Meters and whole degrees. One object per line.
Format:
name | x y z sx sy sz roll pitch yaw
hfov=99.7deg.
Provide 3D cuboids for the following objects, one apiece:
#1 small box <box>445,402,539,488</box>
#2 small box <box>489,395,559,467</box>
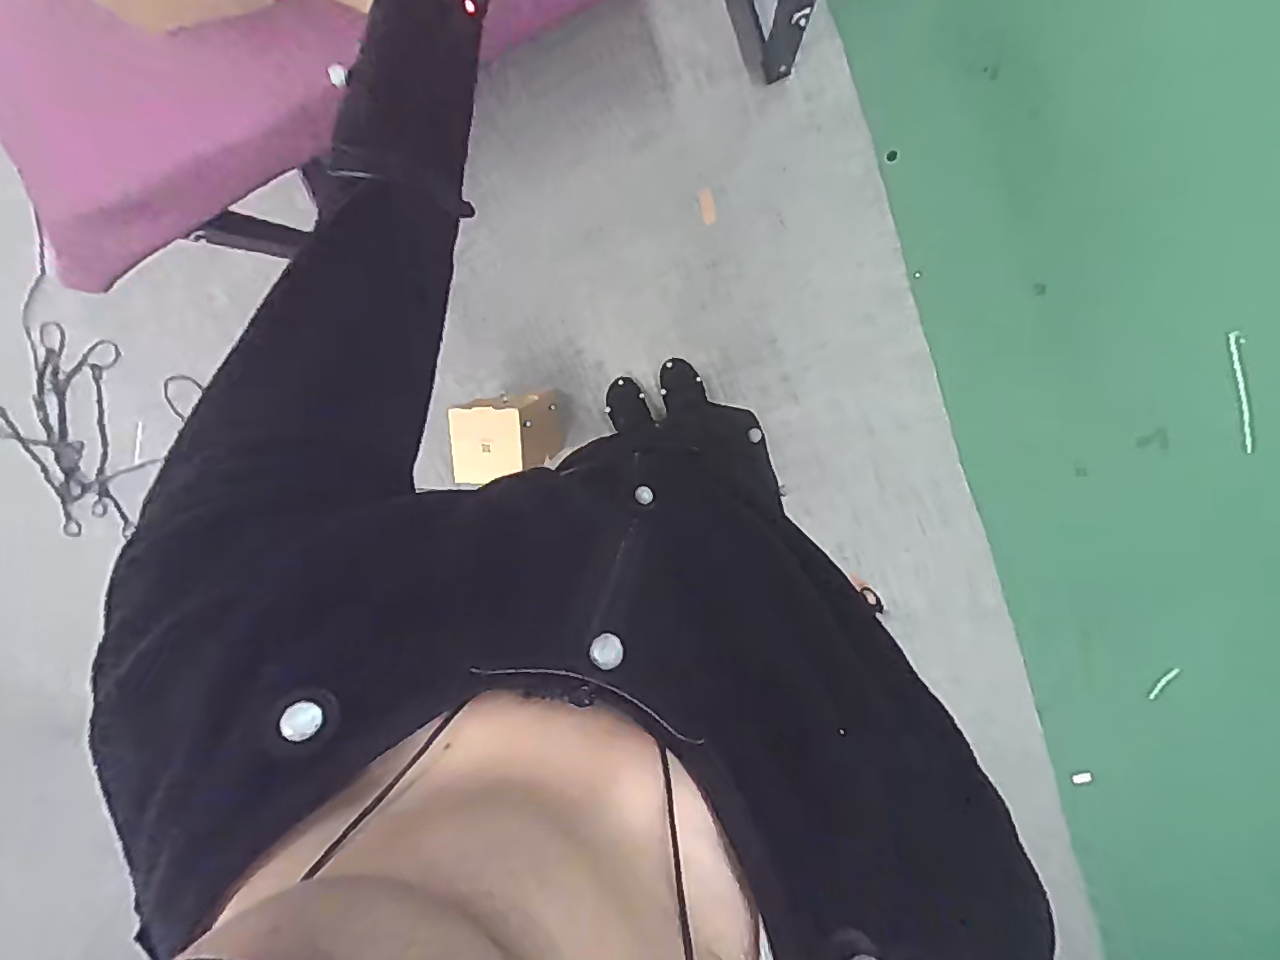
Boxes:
small box | -0.342 -0.087 1.284 0.168 0.176 0.179 1 104 6
small box | -0.322 -0.132 1.438 0.168 0.176 0.179 -5 105 7
